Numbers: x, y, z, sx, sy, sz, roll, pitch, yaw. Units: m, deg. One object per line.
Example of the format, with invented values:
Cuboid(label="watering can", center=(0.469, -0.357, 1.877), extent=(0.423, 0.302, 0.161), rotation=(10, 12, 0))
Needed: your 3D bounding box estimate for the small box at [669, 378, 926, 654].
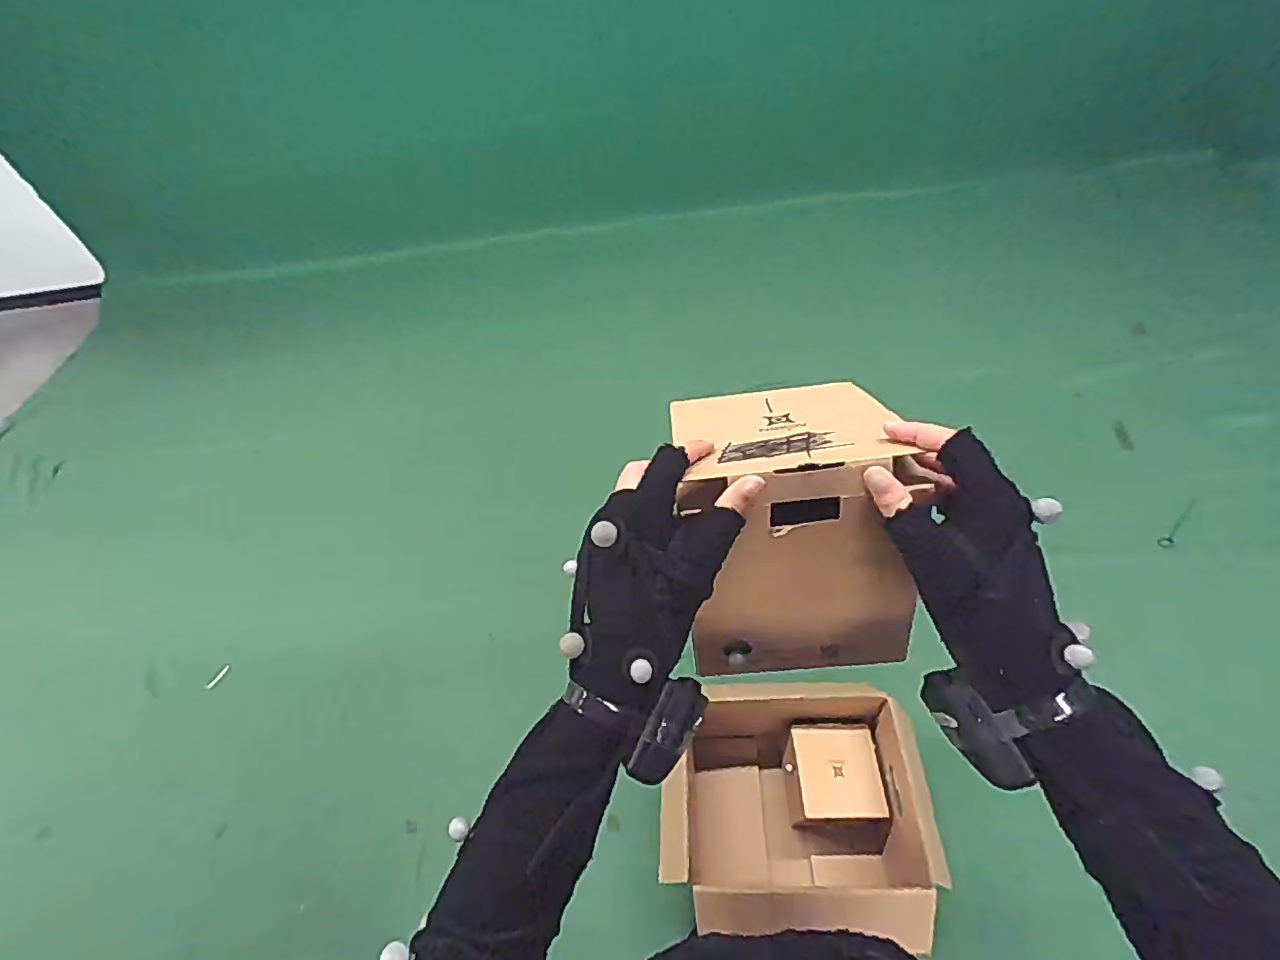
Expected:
Cuboid(label="small box", center=(0.116, 0.031, 0.461), extent=(0.168, 0.176, 0.179), rotation=(-6, 31, 5))
